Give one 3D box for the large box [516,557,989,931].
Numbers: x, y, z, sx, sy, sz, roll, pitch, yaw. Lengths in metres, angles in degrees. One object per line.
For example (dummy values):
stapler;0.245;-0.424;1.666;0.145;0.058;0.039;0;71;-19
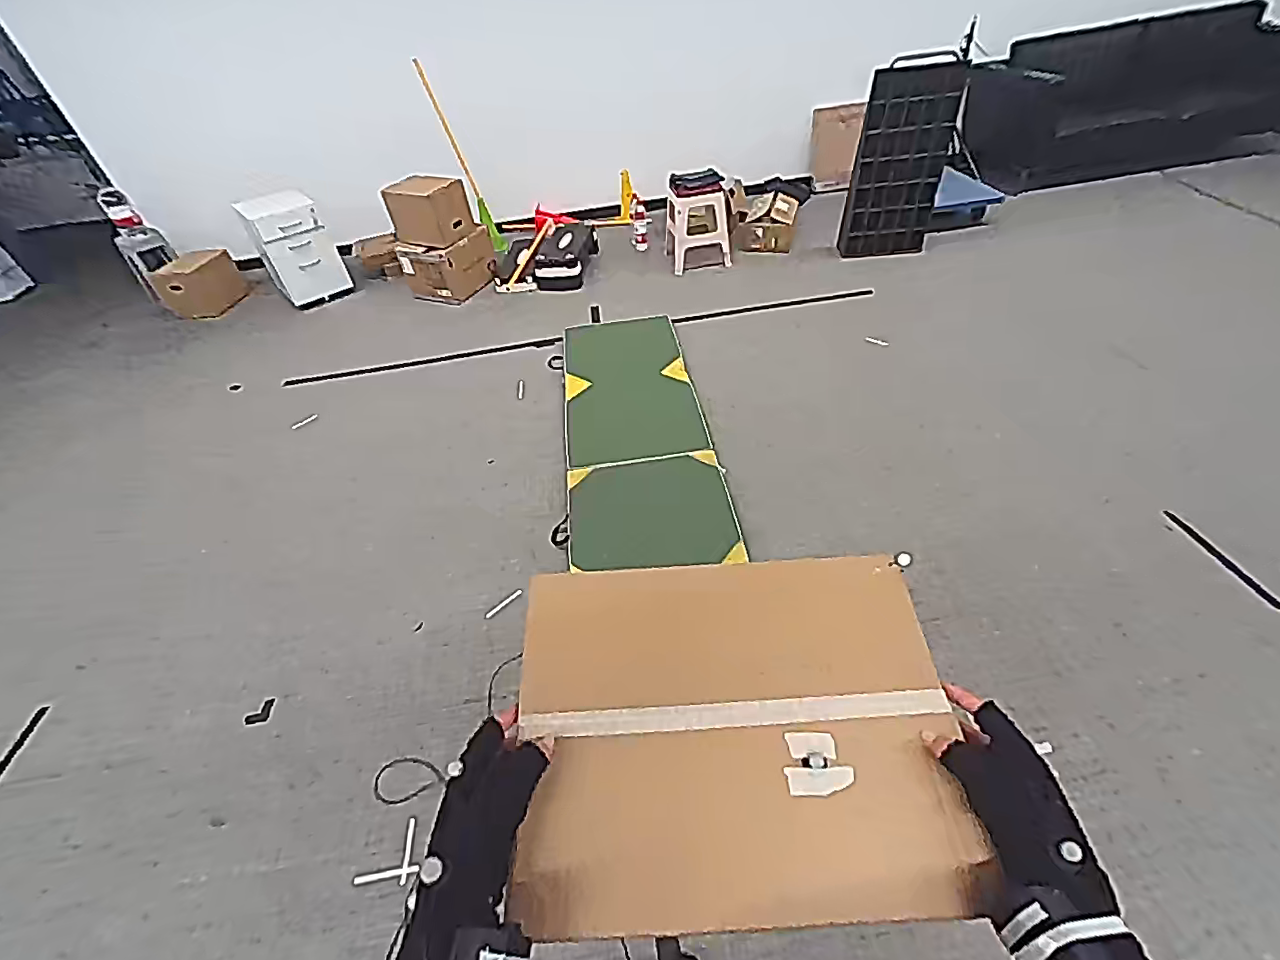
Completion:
large box;0.087;0.314;0.650;0.408;0.320;0.320;-4;54;-1
